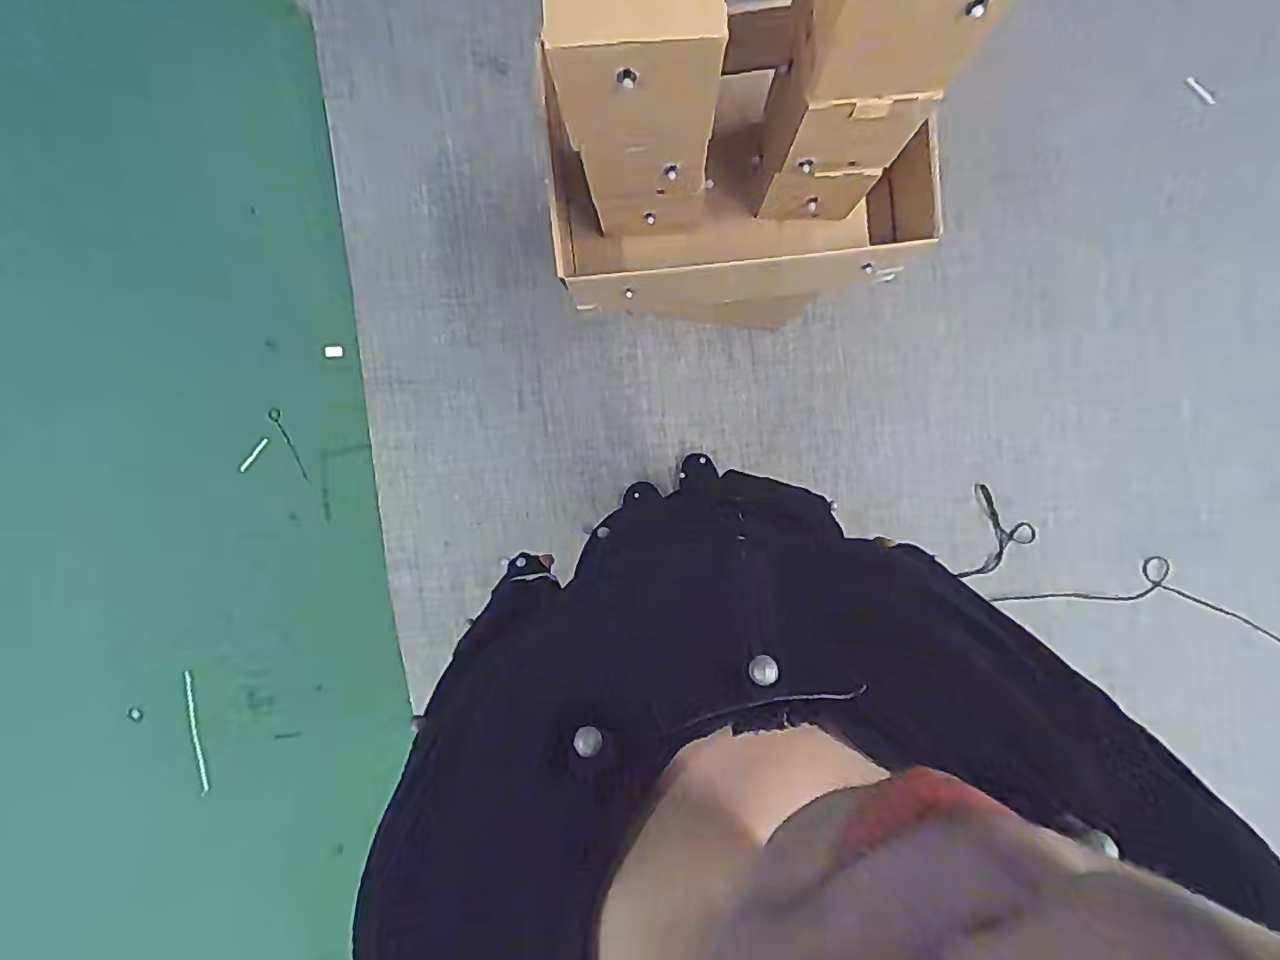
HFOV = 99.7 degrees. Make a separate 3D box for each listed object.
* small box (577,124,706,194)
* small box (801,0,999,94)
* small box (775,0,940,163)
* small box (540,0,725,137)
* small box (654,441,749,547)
[{"bbox_3d":[-0.001,-0.516,0.745,0.168,0.176,0.179,-5,93,1],"label":"small box"},{"bbox_3d":[0.273,-0.545,0.571,0.179,0.176,0.168,-3,94,2],"label":"small box"},{"bbox_3d":[0.283,-0.555,0.733,0.168,0.176,0.179,-2,93,2],"label":"small box"},{"bbox_3d":[-0.005,-0.497,0.581,0.179,0.176,0.168,-2,95,1],"label":"small box"},{"bbox_3d":[0.151,0.038,1.409,0.168,0.176,0.179,39,57,24],"label":"small box"}]
